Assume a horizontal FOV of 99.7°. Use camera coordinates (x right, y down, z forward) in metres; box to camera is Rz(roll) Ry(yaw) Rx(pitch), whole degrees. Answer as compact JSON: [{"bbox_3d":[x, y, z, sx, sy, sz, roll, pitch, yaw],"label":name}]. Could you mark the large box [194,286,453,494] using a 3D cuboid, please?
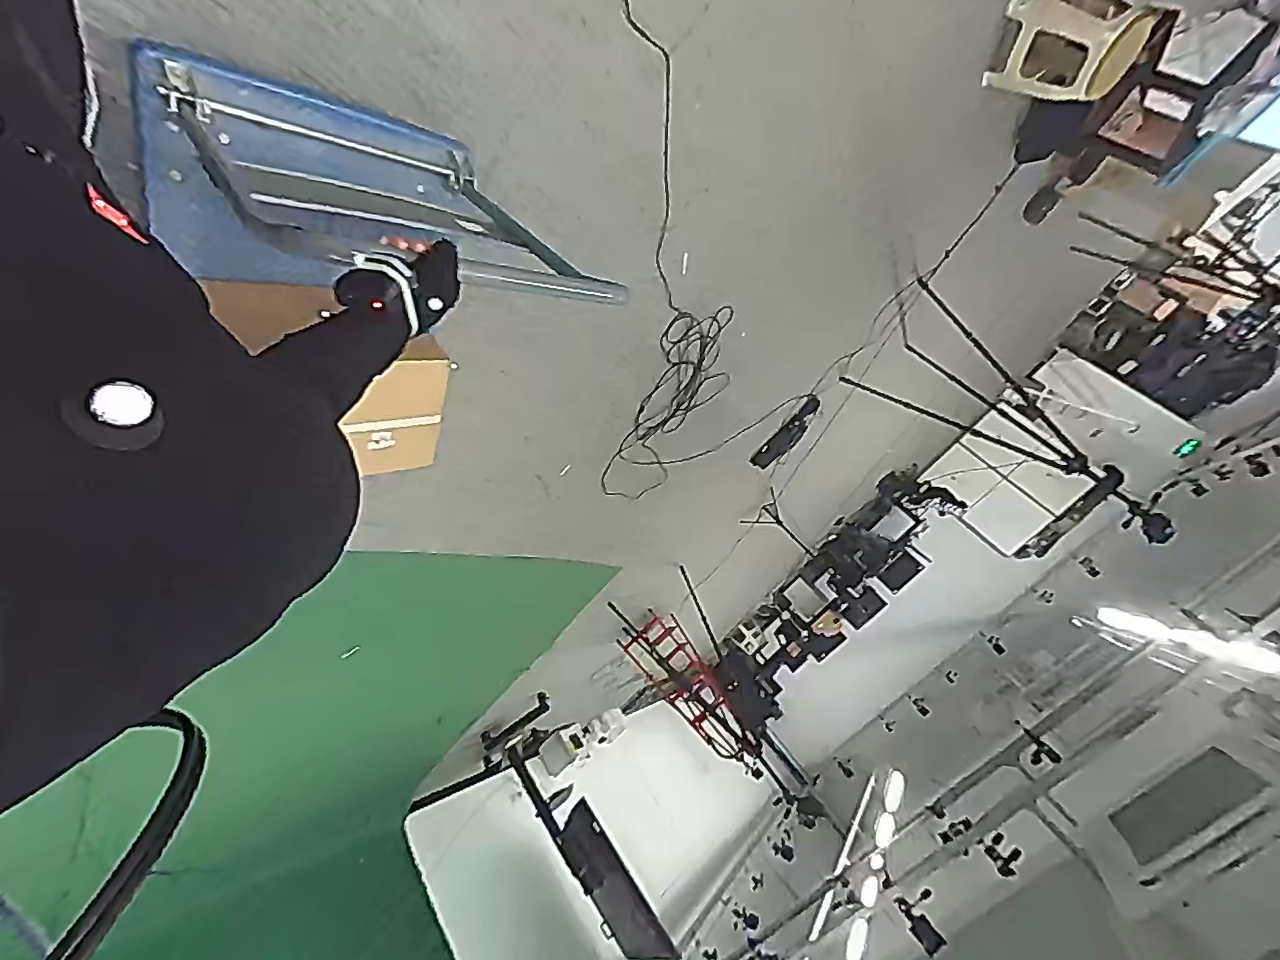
[{"bbox_3d":[-0.696,-0.218,1.216,0.408,0.320,0.320,-16,144,-43],"label":"large box"}]
